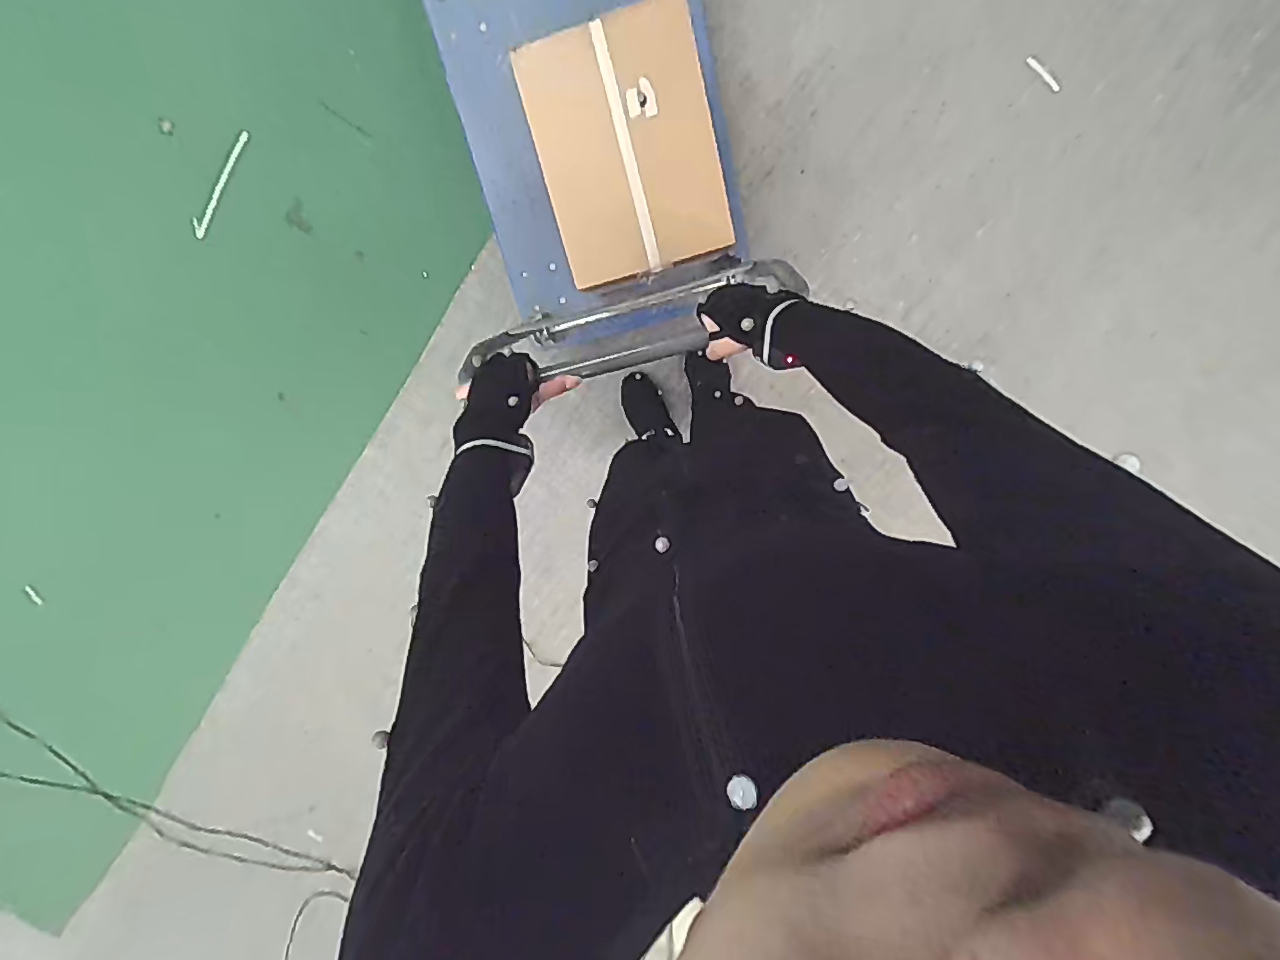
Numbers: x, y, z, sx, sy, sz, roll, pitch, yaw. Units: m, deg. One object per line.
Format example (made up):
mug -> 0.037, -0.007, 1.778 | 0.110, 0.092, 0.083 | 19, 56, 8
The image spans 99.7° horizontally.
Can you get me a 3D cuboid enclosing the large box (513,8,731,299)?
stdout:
large box -> -0.017, -0.626, 1.130 | 0.320, 0.320, 0.408 | -14, 106, 6
